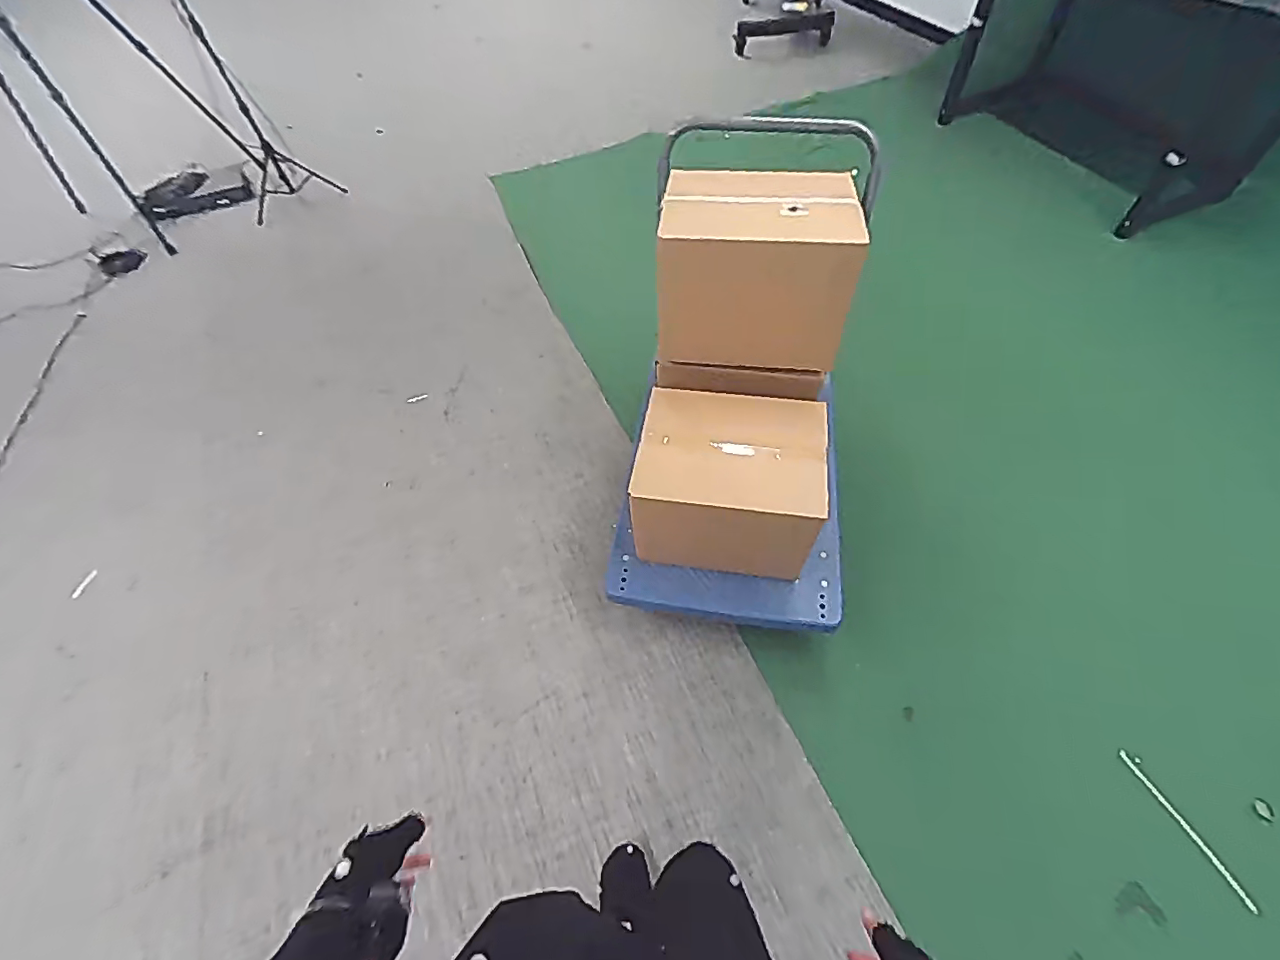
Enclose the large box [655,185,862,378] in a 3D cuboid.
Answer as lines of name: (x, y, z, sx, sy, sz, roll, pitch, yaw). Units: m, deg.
large box: (0.247, -0.458, 1.254, 0.408, 0.320, 0.320, 5, 51, 5)
